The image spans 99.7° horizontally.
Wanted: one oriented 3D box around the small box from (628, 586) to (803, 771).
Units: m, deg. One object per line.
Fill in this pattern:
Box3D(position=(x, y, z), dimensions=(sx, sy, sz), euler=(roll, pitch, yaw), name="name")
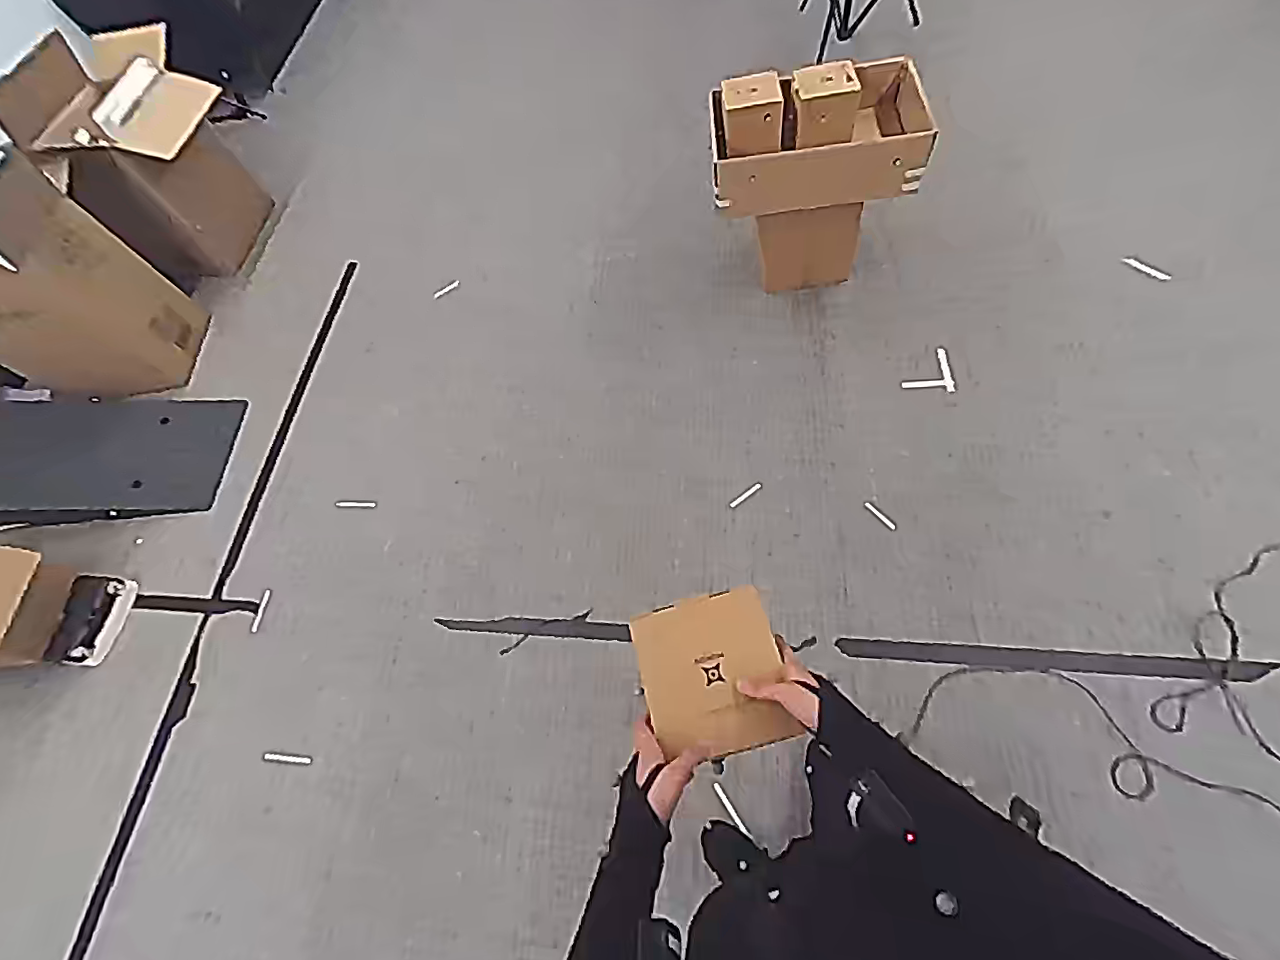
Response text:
Box3D(position=(0.086, 0.260, 0.696), dimensions=(0.168, 0.176, 0.179), euler=(-14, 61, -3), name="small box")
